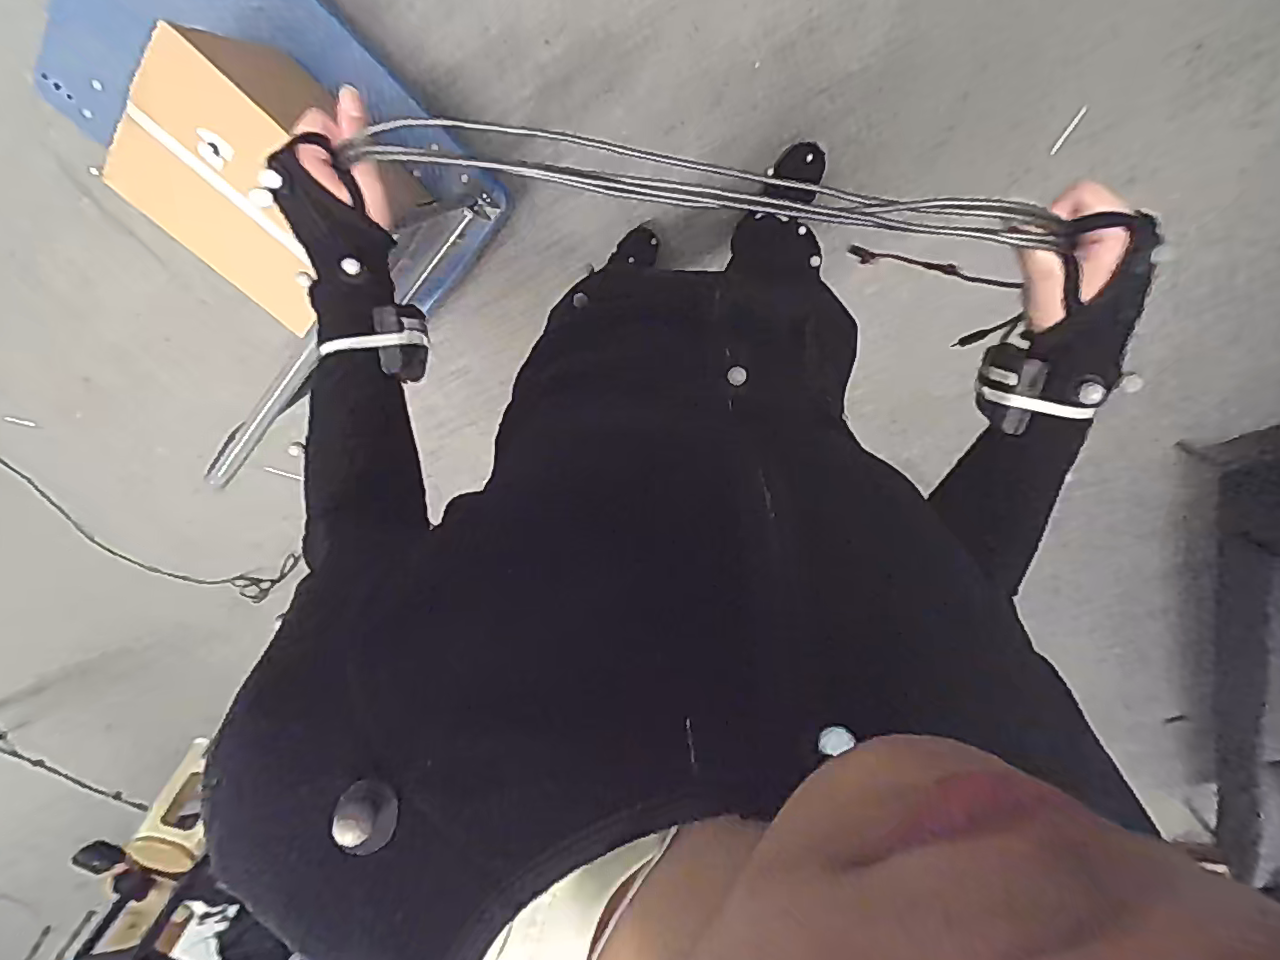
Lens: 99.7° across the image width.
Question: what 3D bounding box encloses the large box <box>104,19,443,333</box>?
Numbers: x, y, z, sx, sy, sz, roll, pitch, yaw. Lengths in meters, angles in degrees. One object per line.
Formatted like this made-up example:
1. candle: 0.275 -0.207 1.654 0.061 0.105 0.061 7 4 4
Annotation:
1. large box: -0.687 -0.574 1.078 0.320 0.320 0.408 -39 111 23
